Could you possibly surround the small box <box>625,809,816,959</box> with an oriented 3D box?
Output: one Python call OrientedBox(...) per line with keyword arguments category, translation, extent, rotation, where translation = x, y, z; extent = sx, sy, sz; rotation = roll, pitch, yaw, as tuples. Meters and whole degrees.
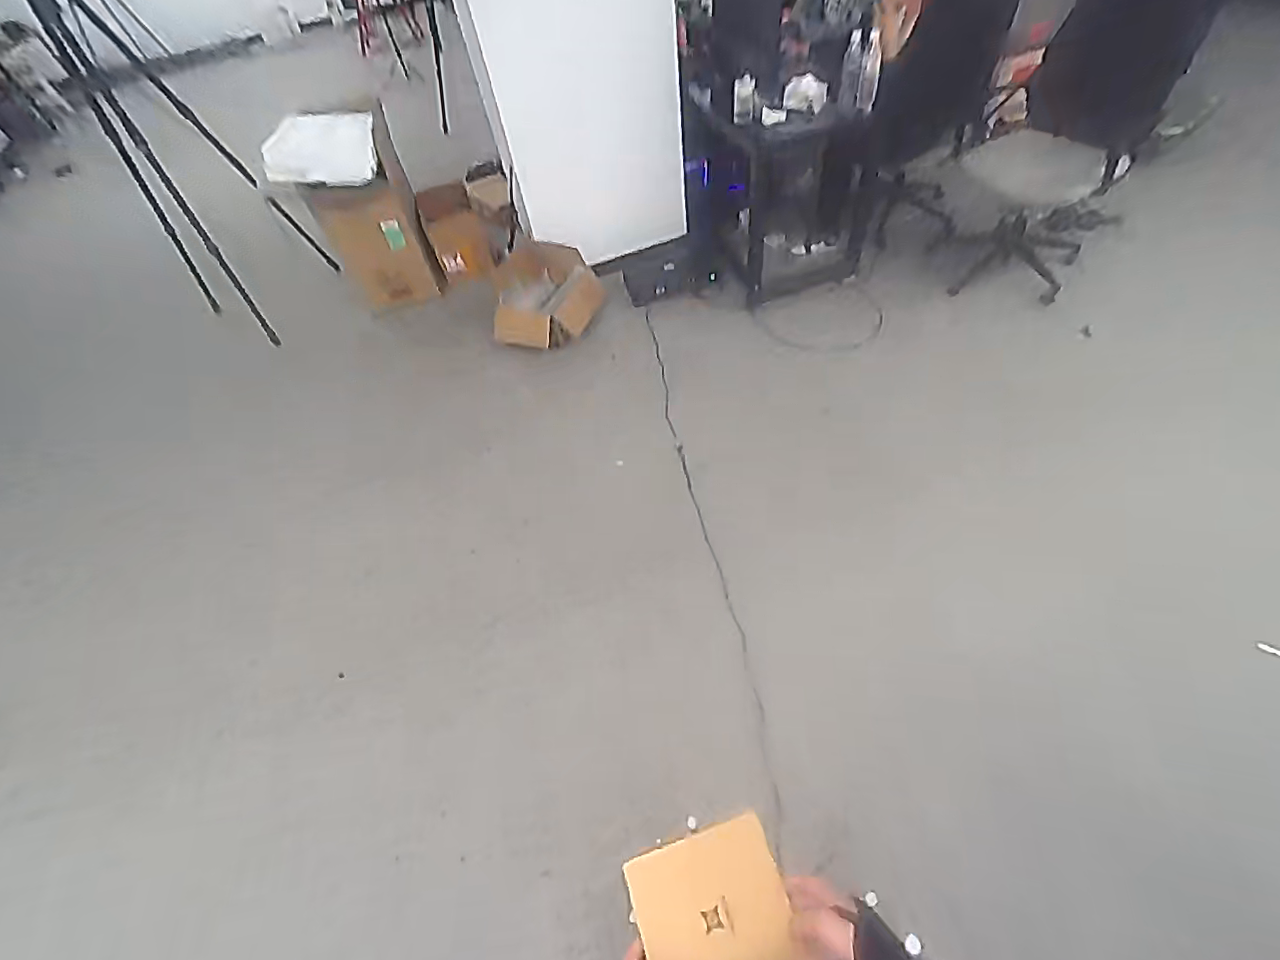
OrientedBox(category="small box", translation=(0.094, 0.536, 0.677), extent=(0.179, 0.176, 0.168), rotation=(-18, 59, -7))
